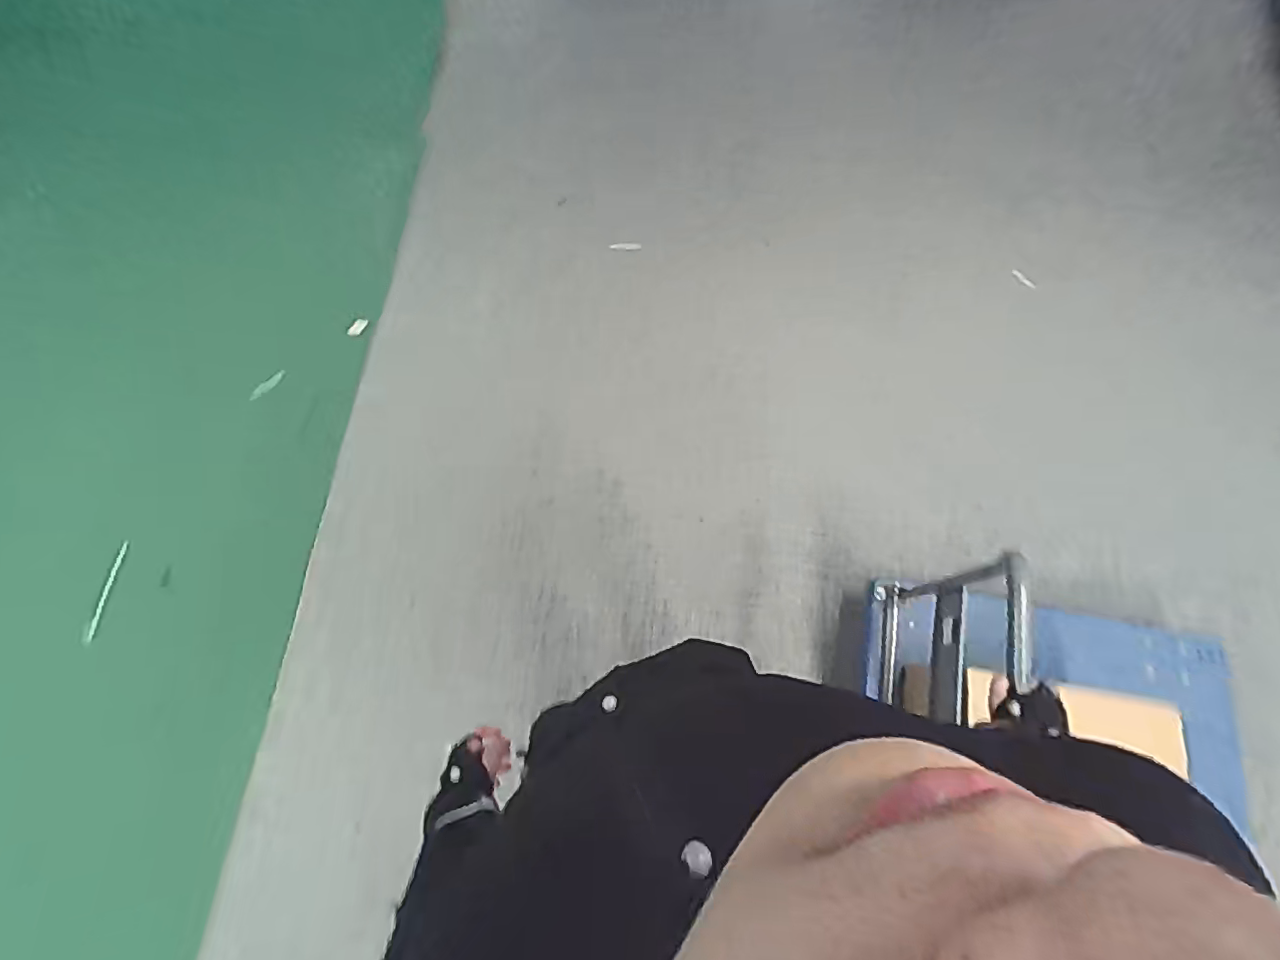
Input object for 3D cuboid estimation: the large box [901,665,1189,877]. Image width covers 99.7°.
[{"bbox_3d":[0.840,0.600,1.190,0.408,0.320,0.320,10,74,6],"label":"large box"}]
